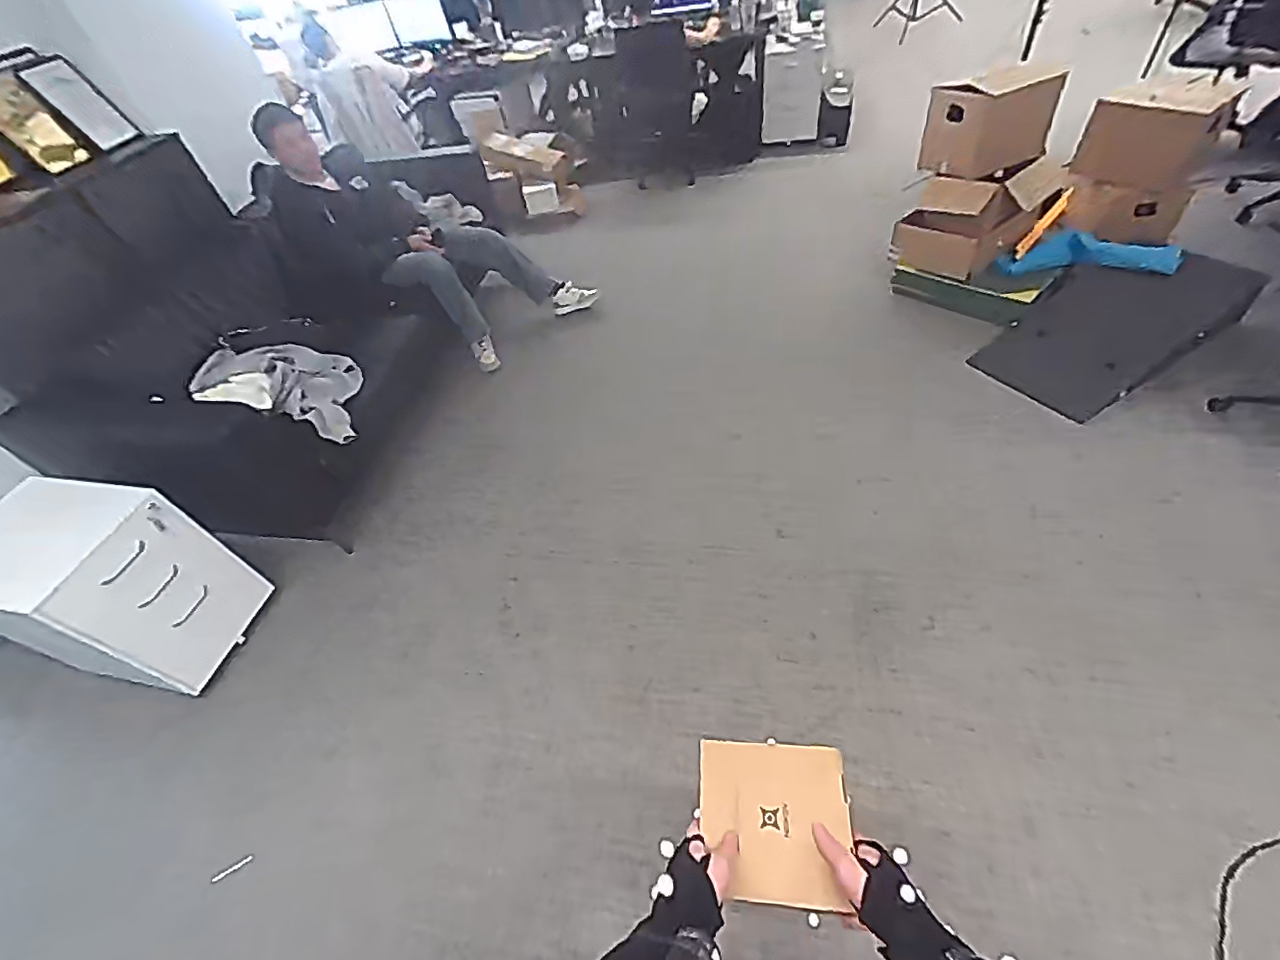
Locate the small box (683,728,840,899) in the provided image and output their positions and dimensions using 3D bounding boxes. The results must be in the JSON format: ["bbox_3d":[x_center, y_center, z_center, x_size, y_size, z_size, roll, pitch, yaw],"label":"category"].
[{"bbox_3d":[0.157,0.442,0.717,0.179,0.176,0.168,-2,52,12],"label":"small box"}]
